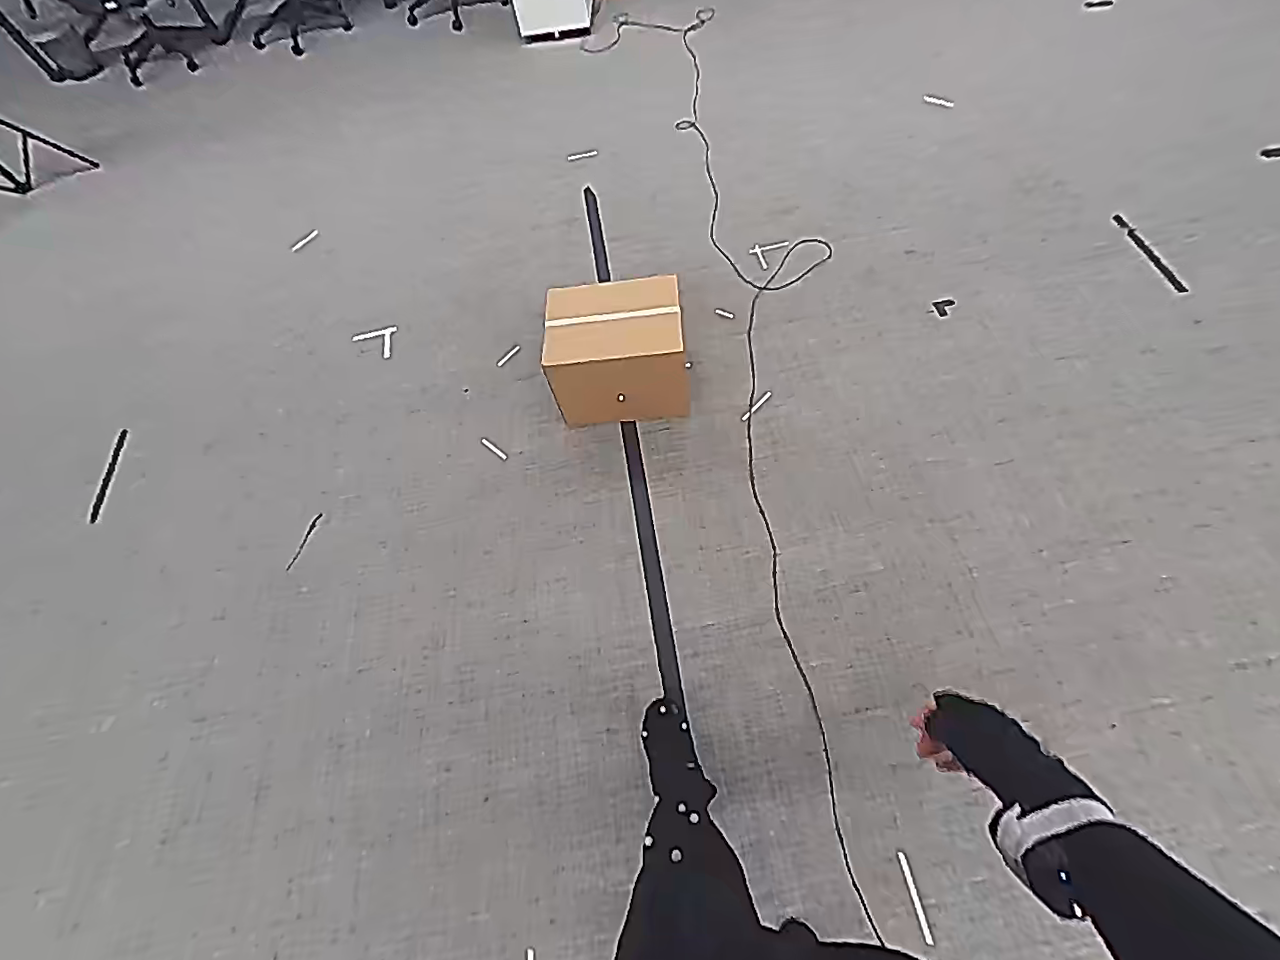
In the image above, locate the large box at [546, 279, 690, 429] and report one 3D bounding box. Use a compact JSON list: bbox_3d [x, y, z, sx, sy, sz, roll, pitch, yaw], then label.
[{"bbox_3d":[-0.059,-0.385,1.704,0.408,0.320,0.320,-5,61,5],"label":"large box"}]
